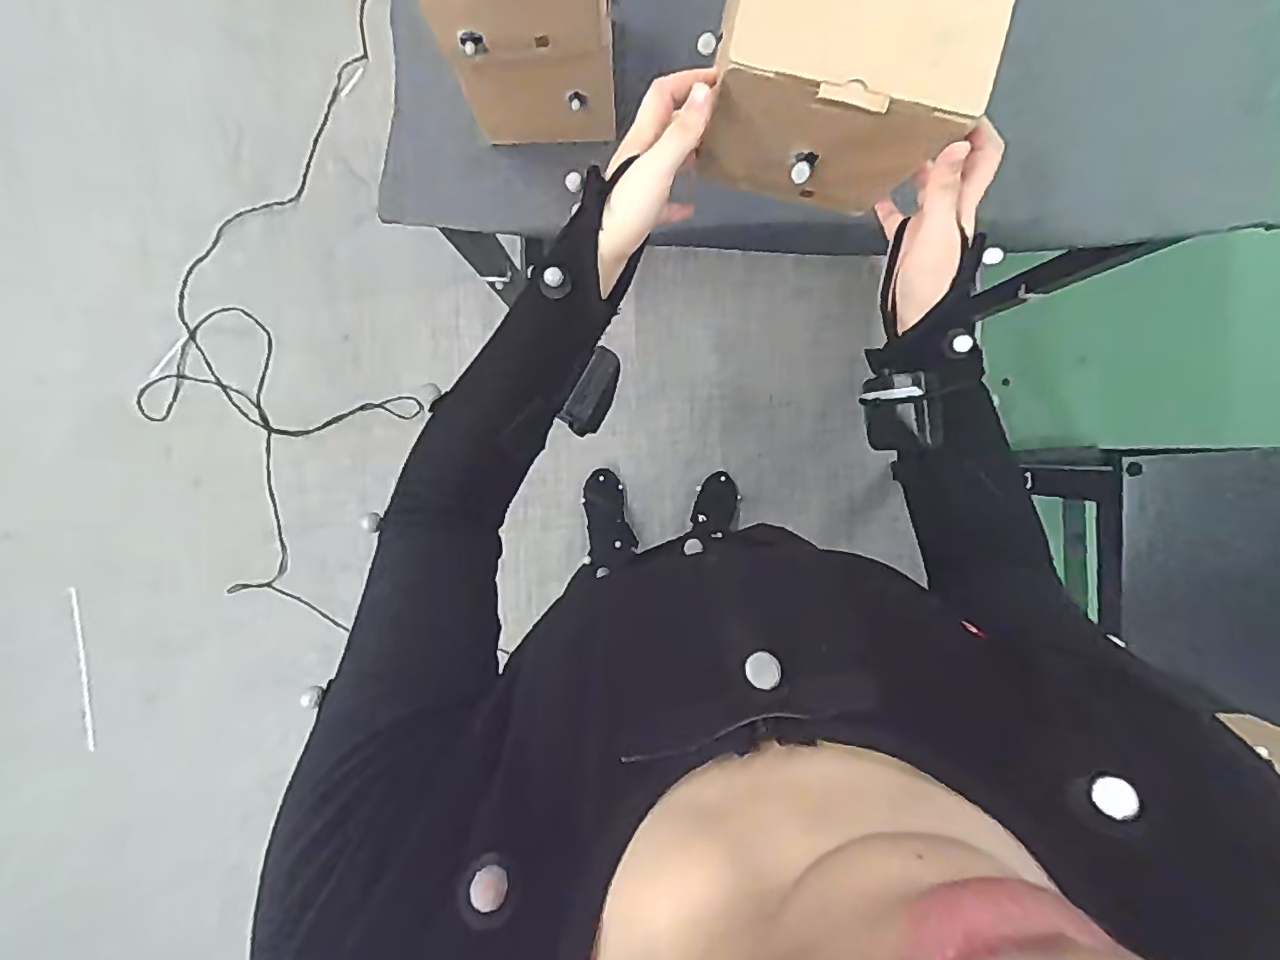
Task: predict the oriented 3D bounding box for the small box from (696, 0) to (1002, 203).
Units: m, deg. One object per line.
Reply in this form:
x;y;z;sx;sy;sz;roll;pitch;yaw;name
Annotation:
0.141;-0.332;0.399;0.168;0.176;0.179;11;99;-2;small box

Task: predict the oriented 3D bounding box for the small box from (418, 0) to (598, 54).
-0.133;-0.526;0.485;0.168;0.176;0.179;-7;90;0;small box

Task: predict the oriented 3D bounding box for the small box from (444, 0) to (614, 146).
-0.123;-0.534;0.650;0.179;0.176;0.168;-3;91;1;small box
